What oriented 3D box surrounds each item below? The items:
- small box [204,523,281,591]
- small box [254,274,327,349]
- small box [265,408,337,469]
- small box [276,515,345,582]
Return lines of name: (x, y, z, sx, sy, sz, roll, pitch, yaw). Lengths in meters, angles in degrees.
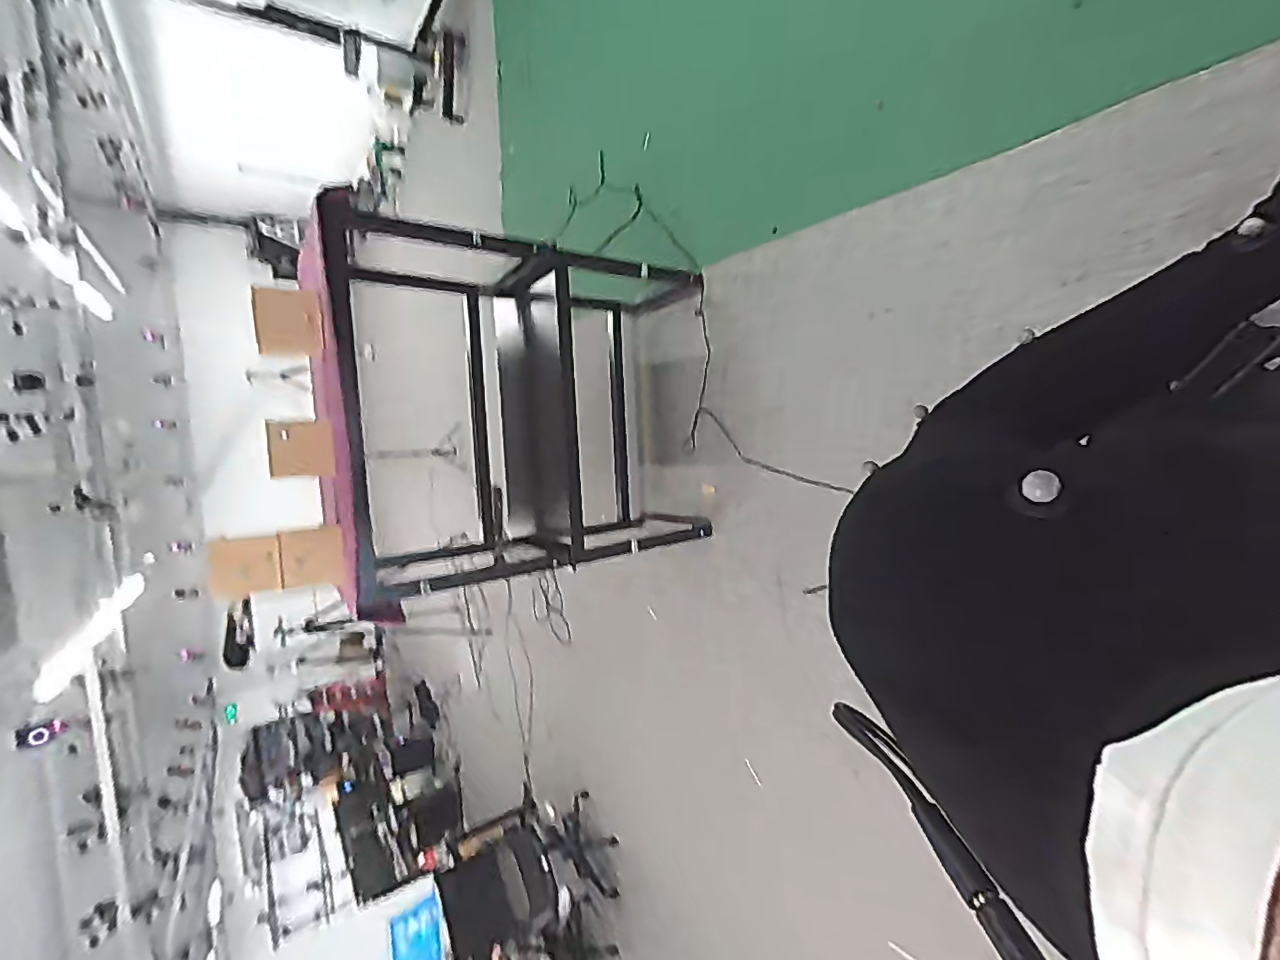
small box: (-1.149, 0.216, 1.575, 0.179, 0.176, 0.168, -4, 91, 55)
small box: (-1.047, -0.497, 1.620, 0.168, 0.176, 0.179, 5, 98, 56)
small box: (-1.035, -0.126, 1.651, 0.168, 0.176, 0.179, 5, 98, 55)
small box: (-1.014, 0.205, 1.665, 0.168, 0.176, 0.179, -2, 92, 54)
